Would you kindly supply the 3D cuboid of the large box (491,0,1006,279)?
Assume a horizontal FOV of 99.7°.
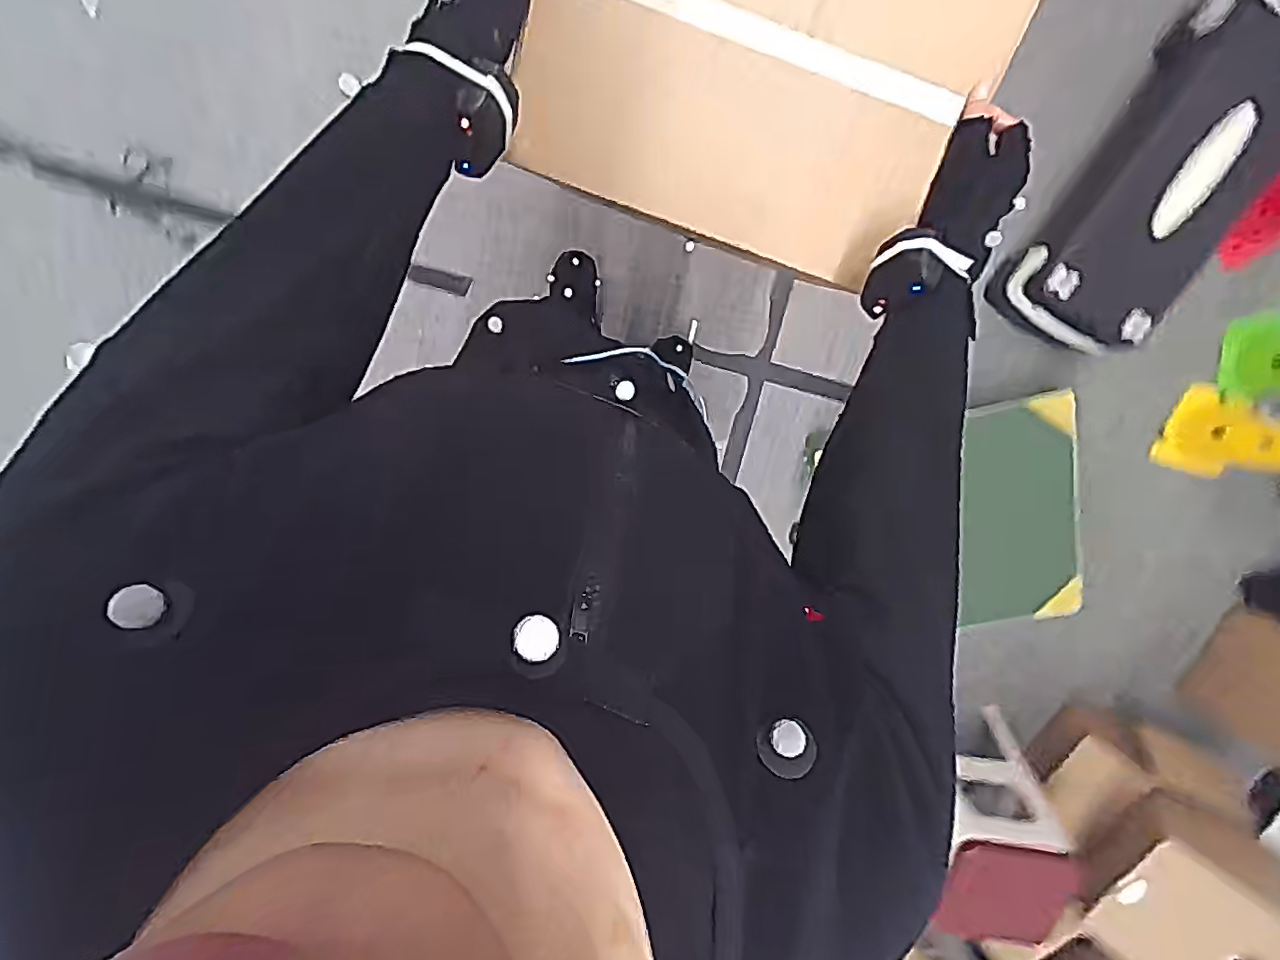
[{"bbox_3d":[0.102,-0.444,0.599,0.408,0.320,0.320,18,112,-3],"label":"large box"}]
